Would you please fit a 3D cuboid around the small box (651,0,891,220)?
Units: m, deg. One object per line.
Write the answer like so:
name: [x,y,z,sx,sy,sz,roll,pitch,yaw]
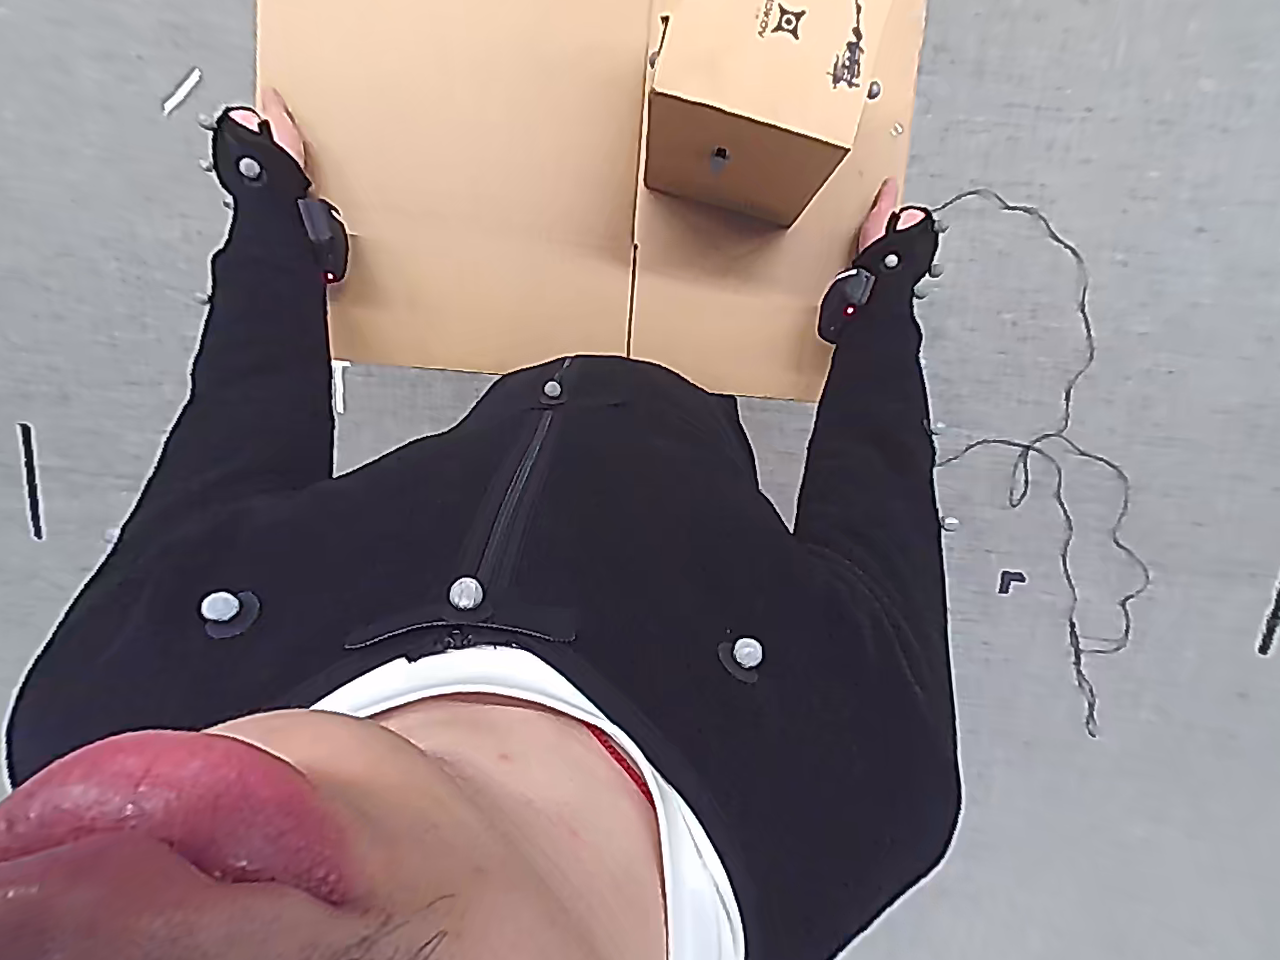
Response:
small box: [0.113,-0.381,0.527,0.179,0.176,0.168,15,94,-2]
